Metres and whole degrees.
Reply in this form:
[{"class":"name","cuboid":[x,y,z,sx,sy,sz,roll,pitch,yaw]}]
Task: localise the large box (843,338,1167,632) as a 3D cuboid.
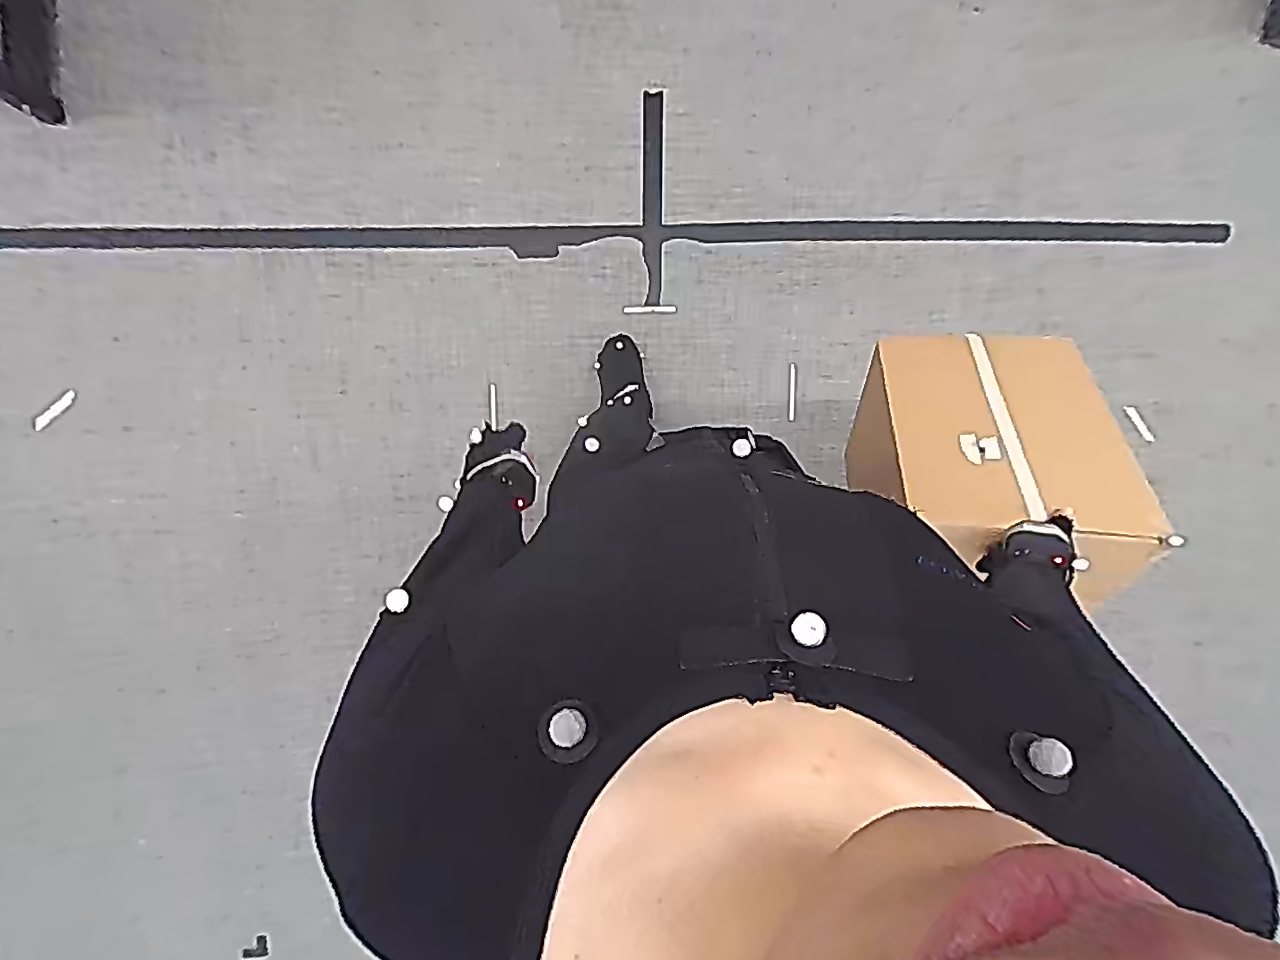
[{"class":"large box","cuboid":[0.562,0.004,0.947,0.320,0.320,0.408,4,53,10]}]
